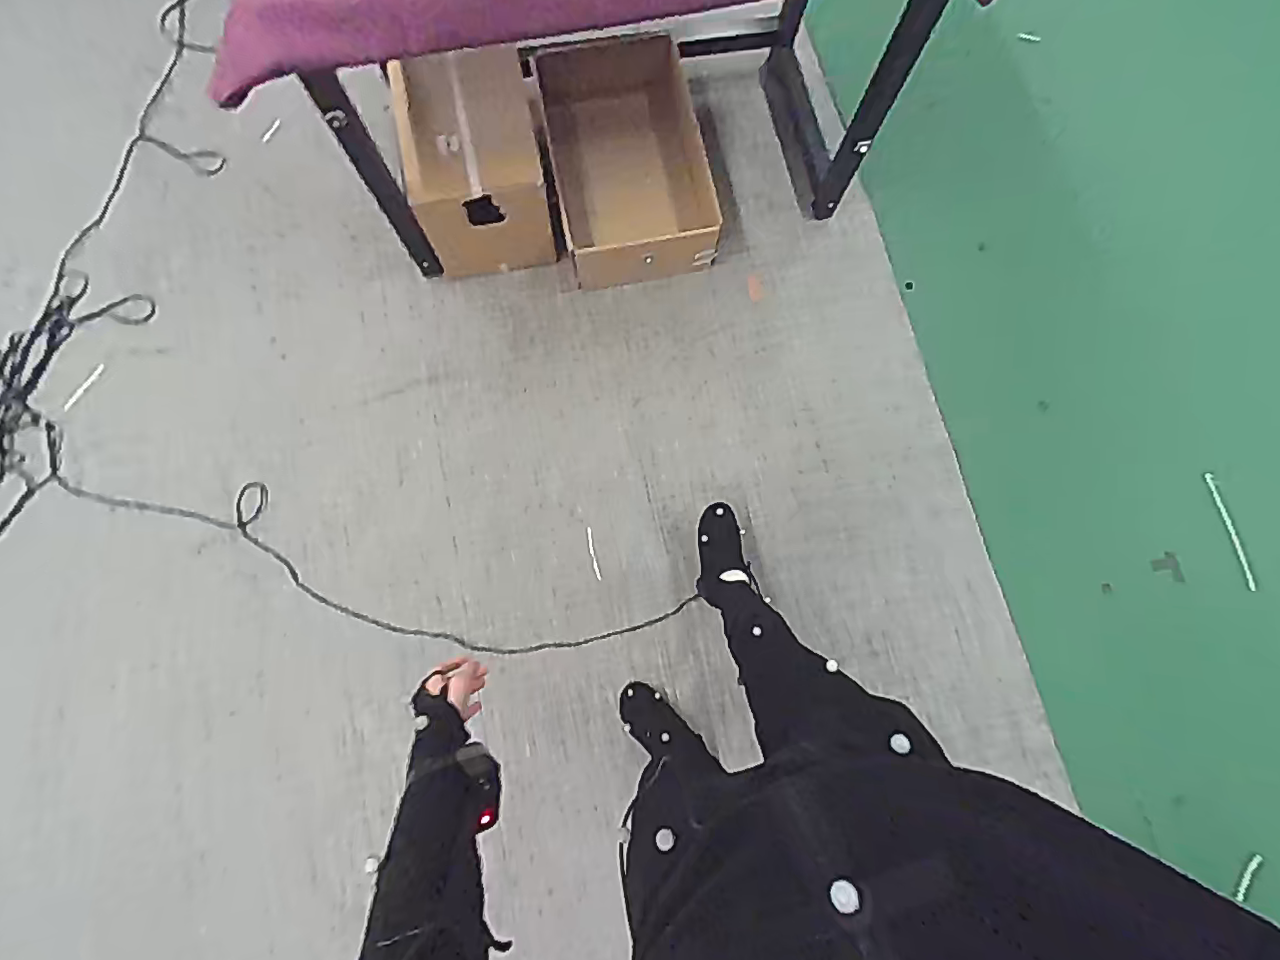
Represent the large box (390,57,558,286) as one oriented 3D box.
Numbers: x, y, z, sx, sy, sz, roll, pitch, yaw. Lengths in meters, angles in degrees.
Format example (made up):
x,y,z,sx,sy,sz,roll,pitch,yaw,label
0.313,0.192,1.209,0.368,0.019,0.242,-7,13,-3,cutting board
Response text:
x,y,z,sx,sy,sz,roll,pitch,yaw,label
-0.415,-0.790,1.418,0.320,0.320,0.408,-12,80,-4,large box
